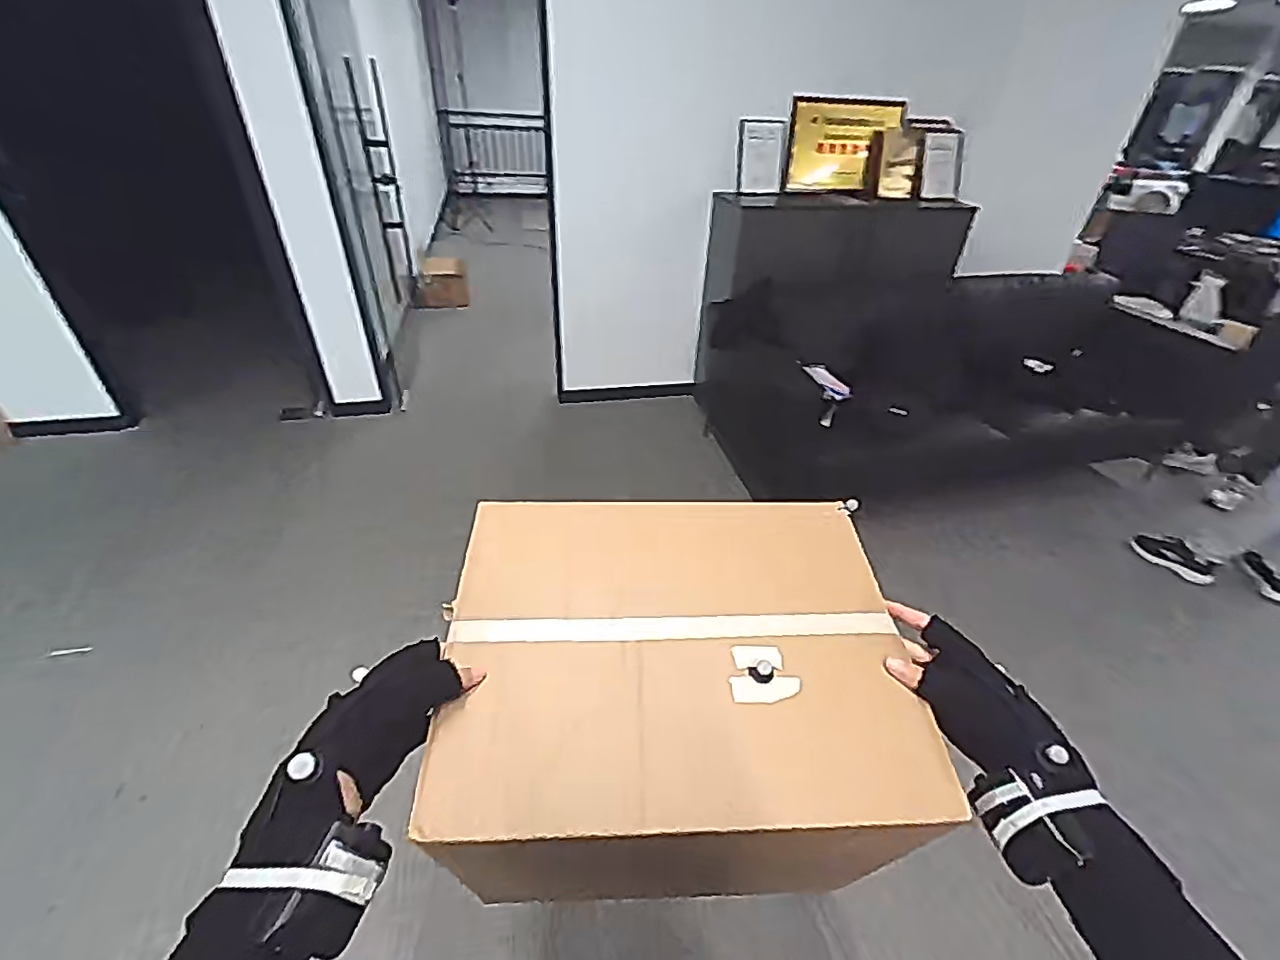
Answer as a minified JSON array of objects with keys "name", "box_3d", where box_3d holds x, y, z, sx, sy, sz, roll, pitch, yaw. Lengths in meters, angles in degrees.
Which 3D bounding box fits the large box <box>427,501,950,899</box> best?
[{"name":"large box","box_3d":[0.023,0.239,0.605,0.408,0.320,0.320,0,46,-5]}]
